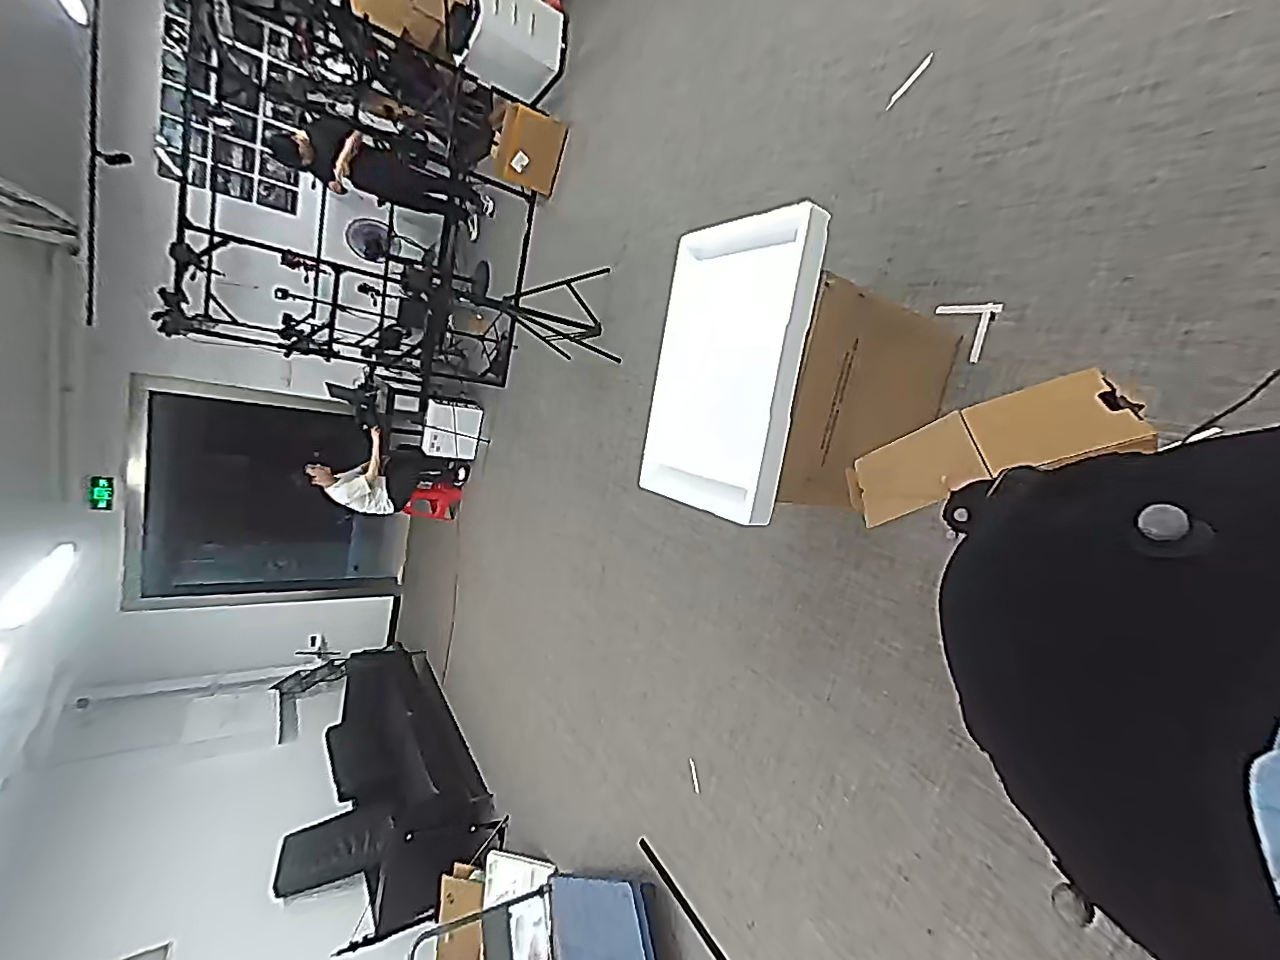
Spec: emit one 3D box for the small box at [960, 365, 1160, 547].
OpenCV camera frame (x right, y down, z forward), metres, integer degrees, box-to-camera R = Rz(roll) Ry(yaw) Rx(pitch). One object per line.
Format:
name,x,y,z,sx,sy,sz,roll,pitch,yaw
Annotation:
small box,0.590,-0.026,0.770,0.179,0.176,0.168,-20,34,27
